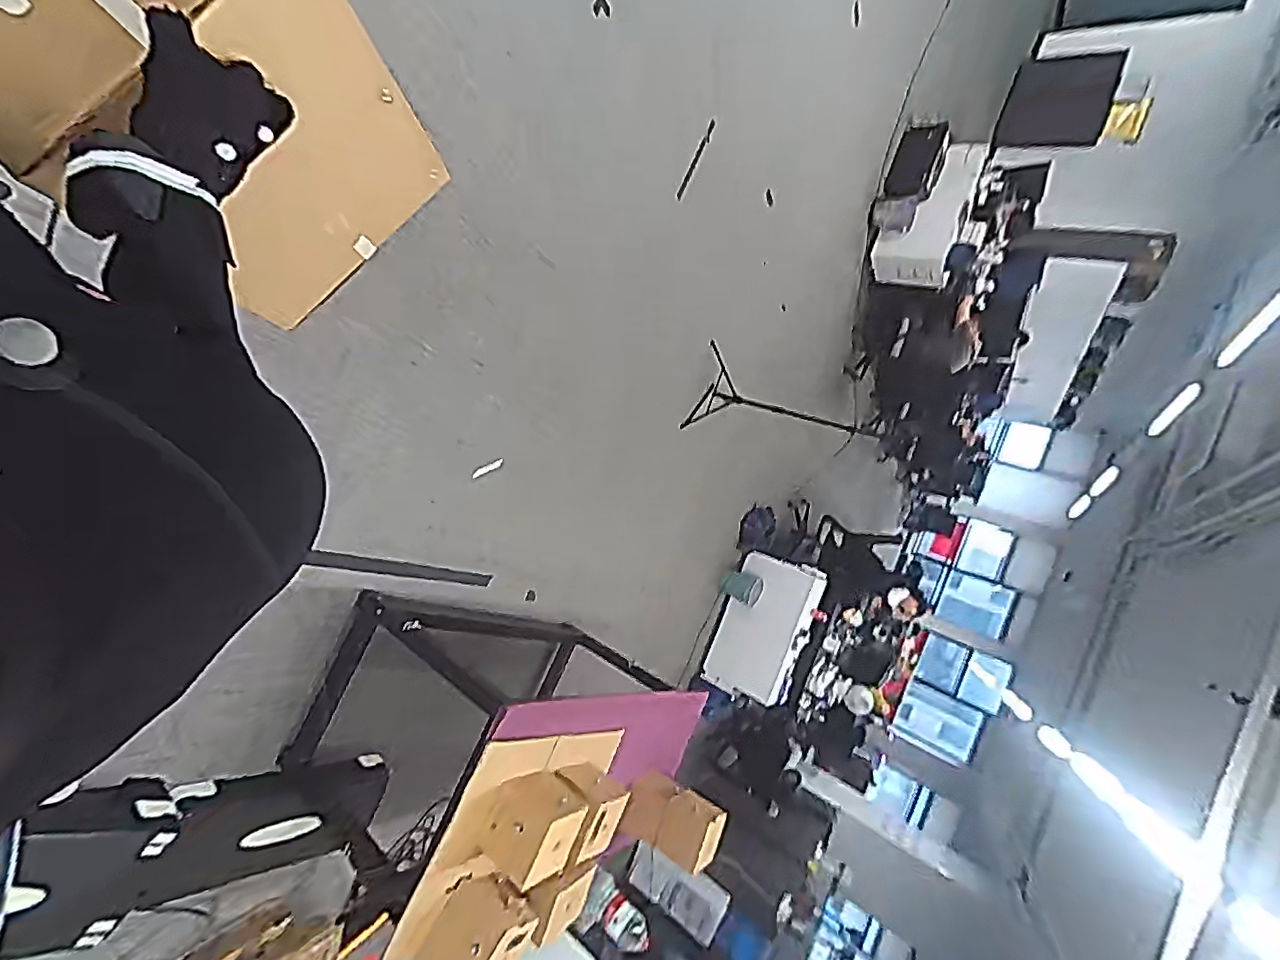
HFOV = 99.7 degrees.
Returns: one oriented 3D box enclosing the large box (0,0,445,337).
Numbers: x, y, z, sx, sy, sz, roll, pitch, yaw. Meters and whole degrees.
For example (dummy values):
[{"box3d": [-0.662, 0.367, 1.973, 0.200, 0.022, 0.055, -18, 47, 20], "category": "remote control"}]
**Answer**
[{"box3d": [-0.519, -0.451, 0.626, 0.320, 0.408, 0.320, -46, 173, -3], "category": "large box"}]
